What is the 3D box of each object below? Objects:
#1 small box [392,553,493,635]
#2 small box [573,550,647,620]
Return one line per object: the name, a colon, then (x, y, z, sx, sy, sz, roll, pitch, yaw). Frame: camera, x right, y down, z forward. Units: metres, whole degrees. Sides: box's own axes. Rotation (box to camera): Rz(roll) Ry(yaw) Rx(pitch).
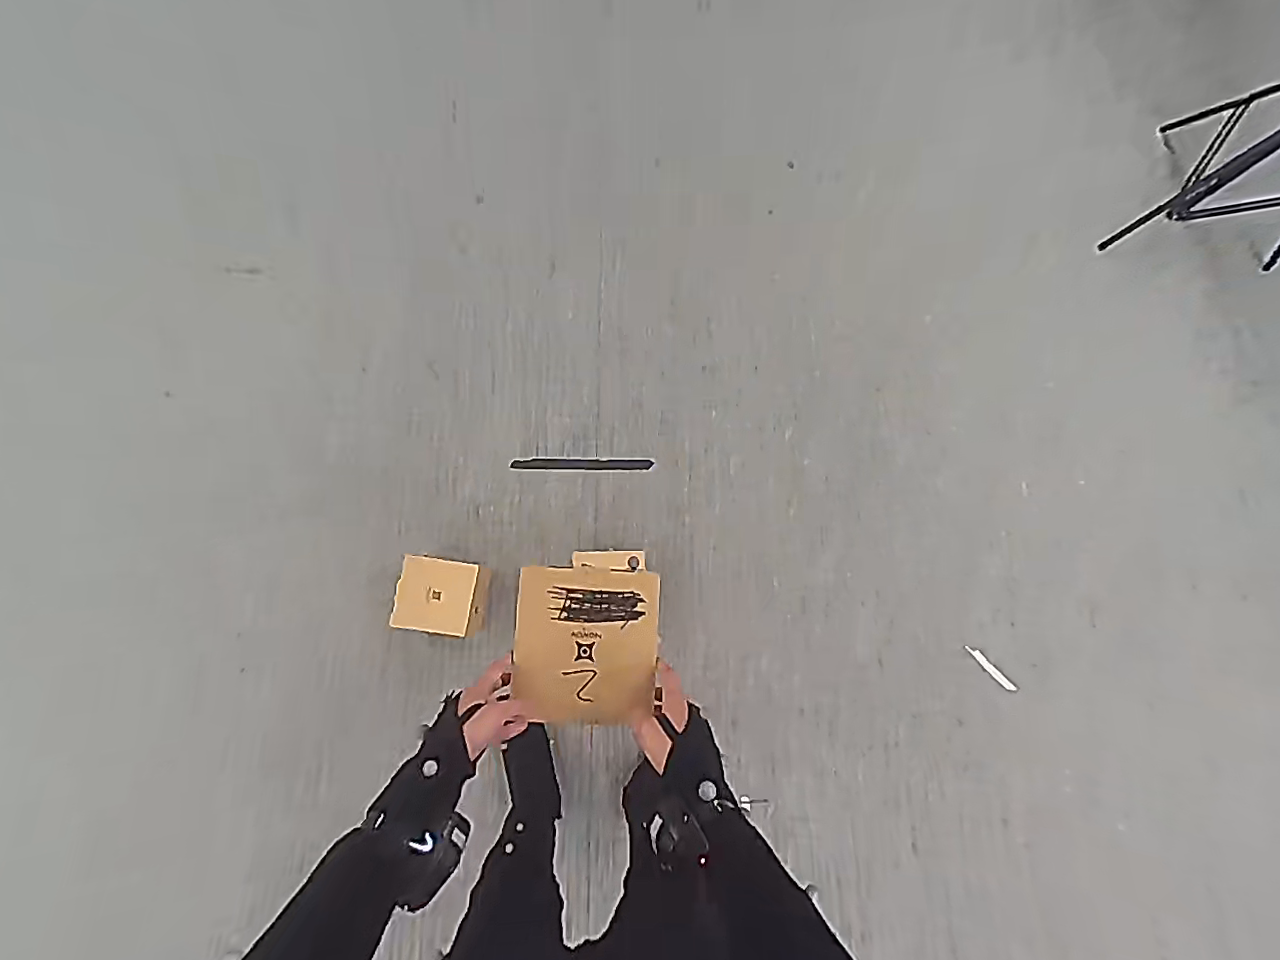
small box: (-0.472, 0.278, 1.325, 0.179, 0.176, 0.168, 9, 77, -2)
small box: (-0.077, 0.266, 1.357, 0.179, 0.176, 0.168, 0, 77, -5)
